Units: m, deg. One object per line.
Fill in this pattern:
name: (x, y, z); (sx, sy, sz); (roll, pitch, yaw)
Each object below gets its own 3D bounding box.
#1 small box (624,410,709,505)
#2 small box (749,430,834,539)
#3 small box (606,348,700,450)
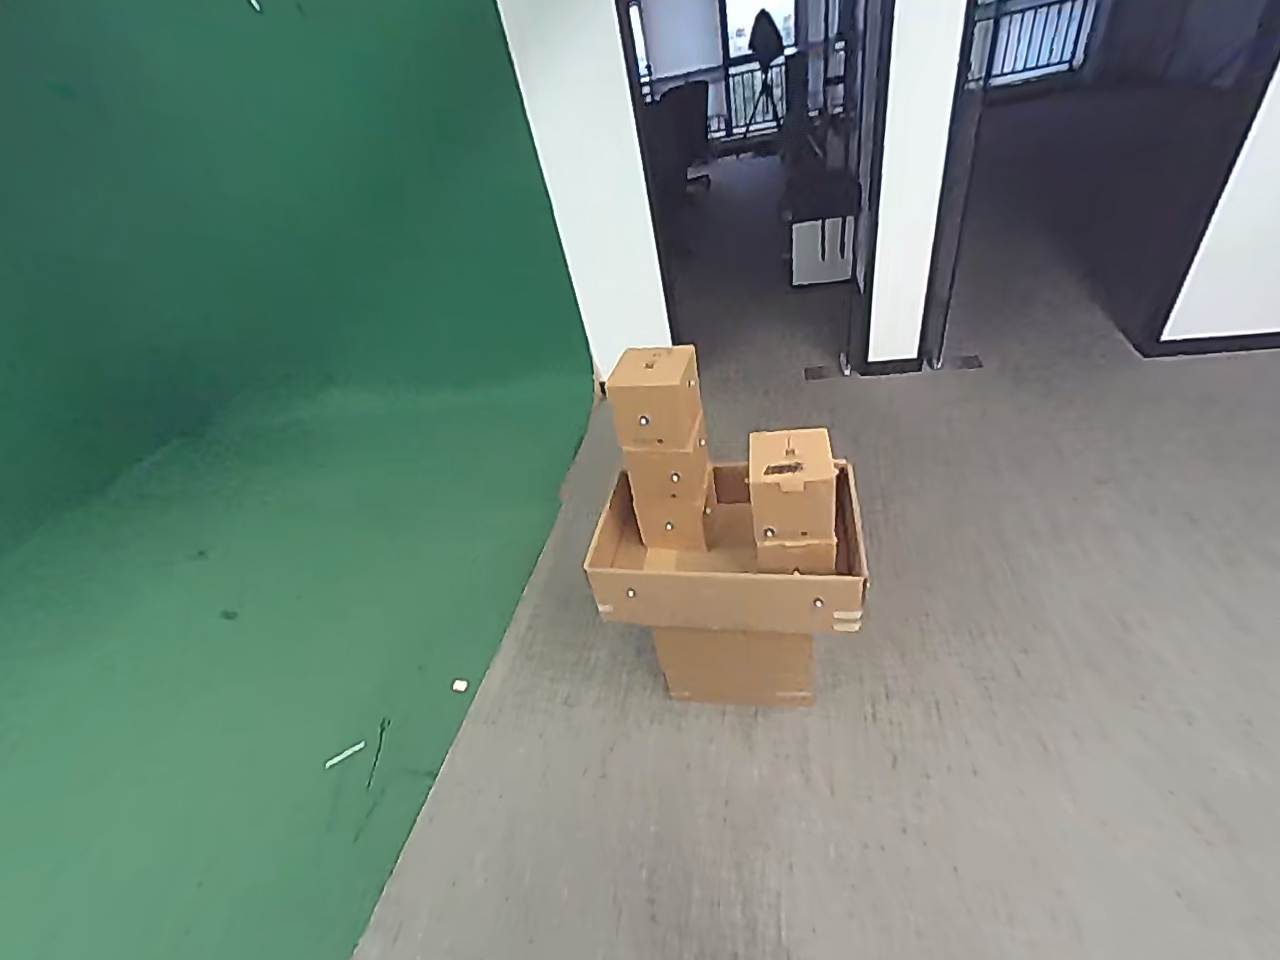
small box: (0.073, -0.055, 1.333); (0.168, 0.176, 0.179); (2, 40, 17)
small box: (0.325, 0.015, 1.165); (0.168, 0.176, 0.179); (-3, 39, 14)
small box: (0.039, -0.184, 1.237); (0.168, 0.176, 0.179); (3, 41, 18)
